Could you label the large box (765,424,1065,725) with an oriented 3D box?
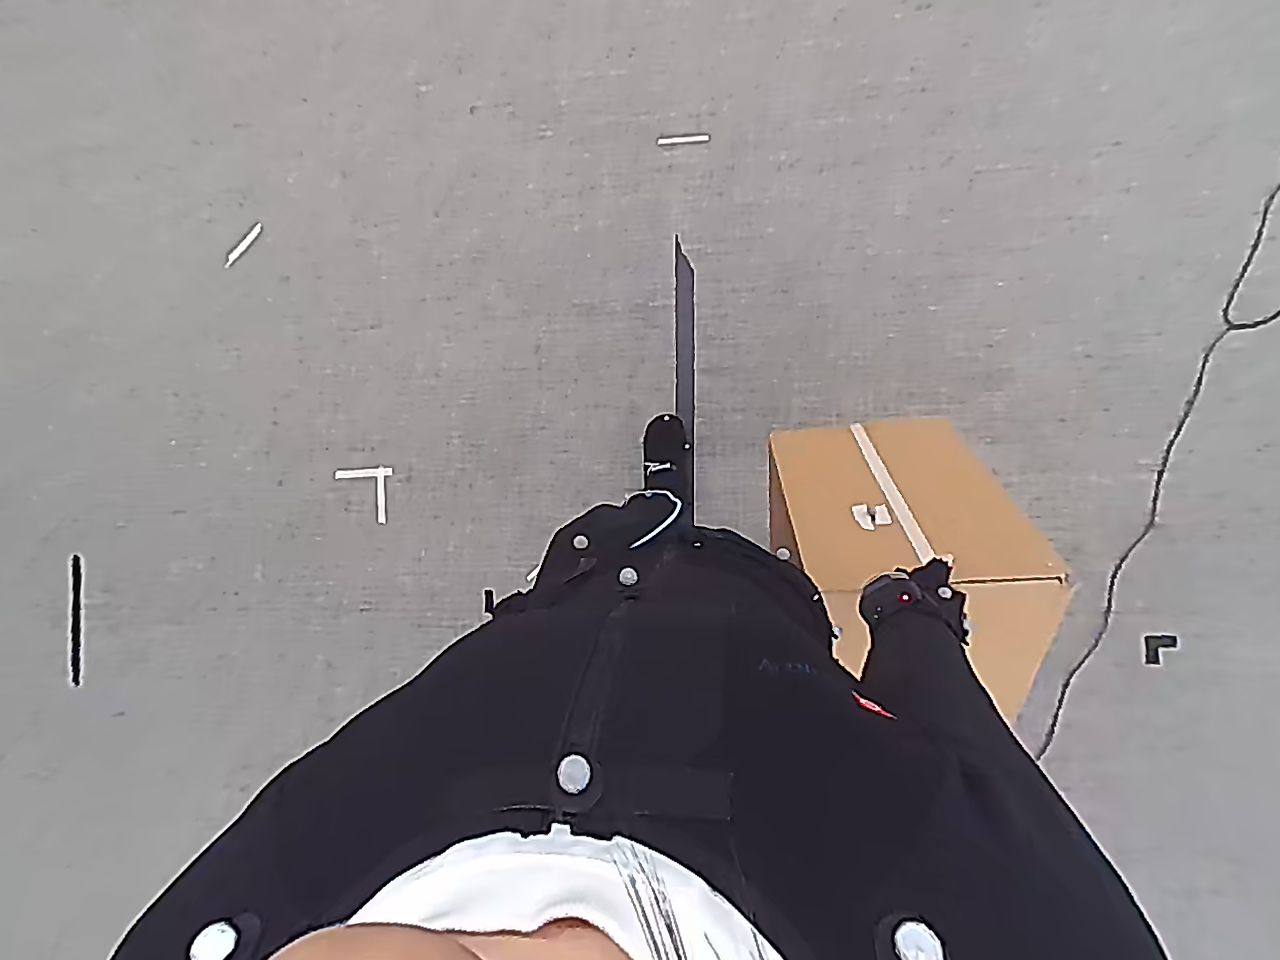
[{"bbox_3d":[0.394,0.143,0.914,0.320,0.408,0.320,-5,125,9],"label":"large box"}]
